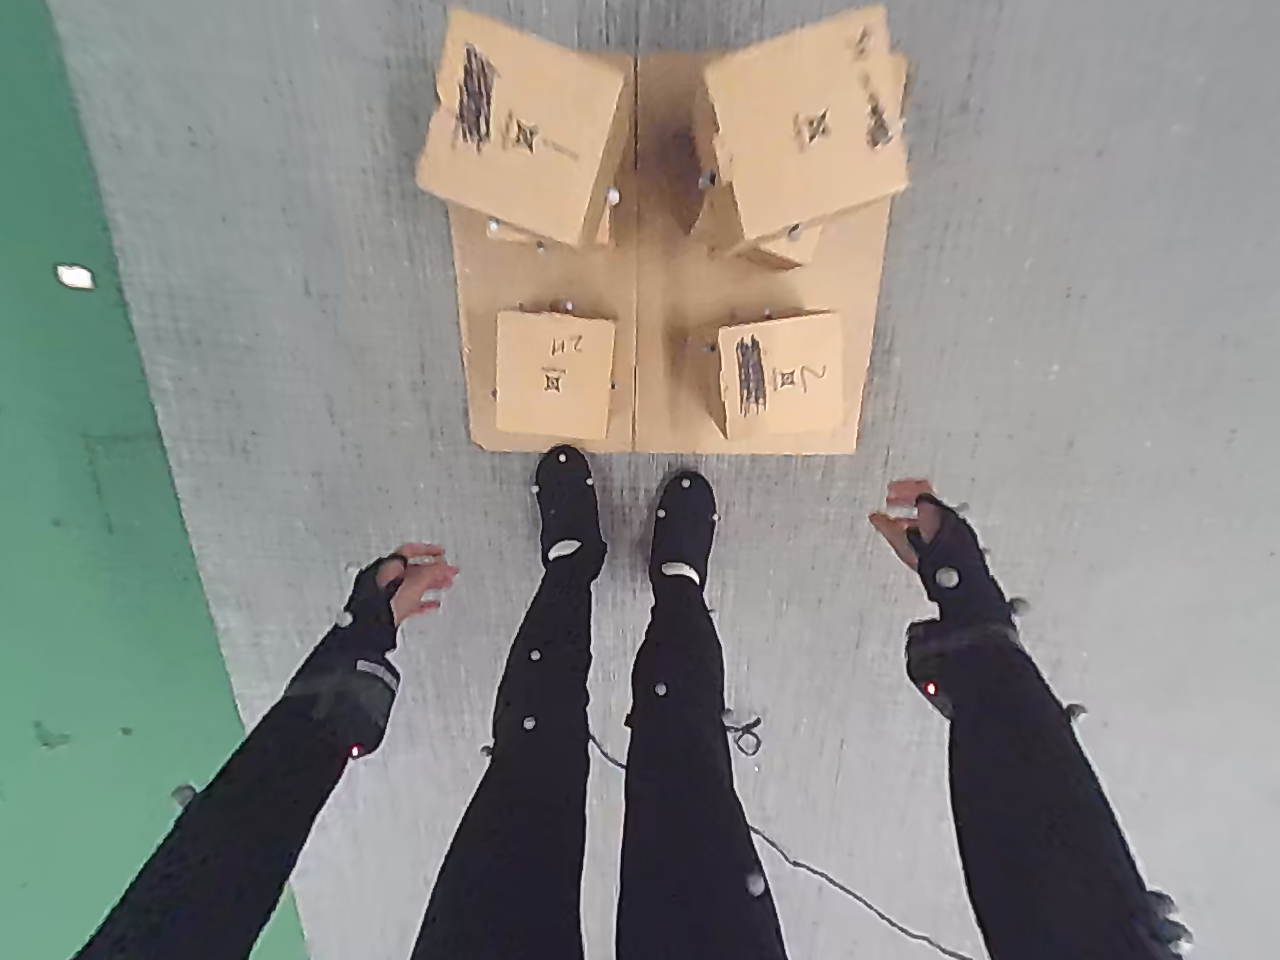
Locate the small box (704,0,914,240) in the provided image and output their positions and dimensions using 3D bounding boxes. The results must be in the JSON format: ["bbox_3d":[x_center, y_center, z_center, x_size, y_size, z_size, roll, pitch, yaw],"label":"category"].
[{"bbox_3d":[0.173,-0.382,0.604,0.179,0.176,0.168,-15,108,7],"label":"small box"}]

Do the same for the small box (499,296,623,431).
[{"bbox_3d":[-0.117,-0.189,0.849,0.168,0.176,0.179,6,109,-2],"label":"small box"}]

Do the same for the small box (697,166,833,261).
[{"bbox_3d":[0.186,-0.427,0.761,0.168,0.176,0.179,19,108,-5],"label":"small box"}]

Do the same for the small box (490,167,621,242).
[{"bbox_3d":[-0.112,-0.440,0.765,0.168,0.176,0.179,2,108,0],"label":"small box"}]

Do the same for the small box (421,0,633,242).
[{"bbox_3d":[-0.115,-0.384,0.610,0.179,0.176,0.168,19,108,-6],"label":"small box"}]
